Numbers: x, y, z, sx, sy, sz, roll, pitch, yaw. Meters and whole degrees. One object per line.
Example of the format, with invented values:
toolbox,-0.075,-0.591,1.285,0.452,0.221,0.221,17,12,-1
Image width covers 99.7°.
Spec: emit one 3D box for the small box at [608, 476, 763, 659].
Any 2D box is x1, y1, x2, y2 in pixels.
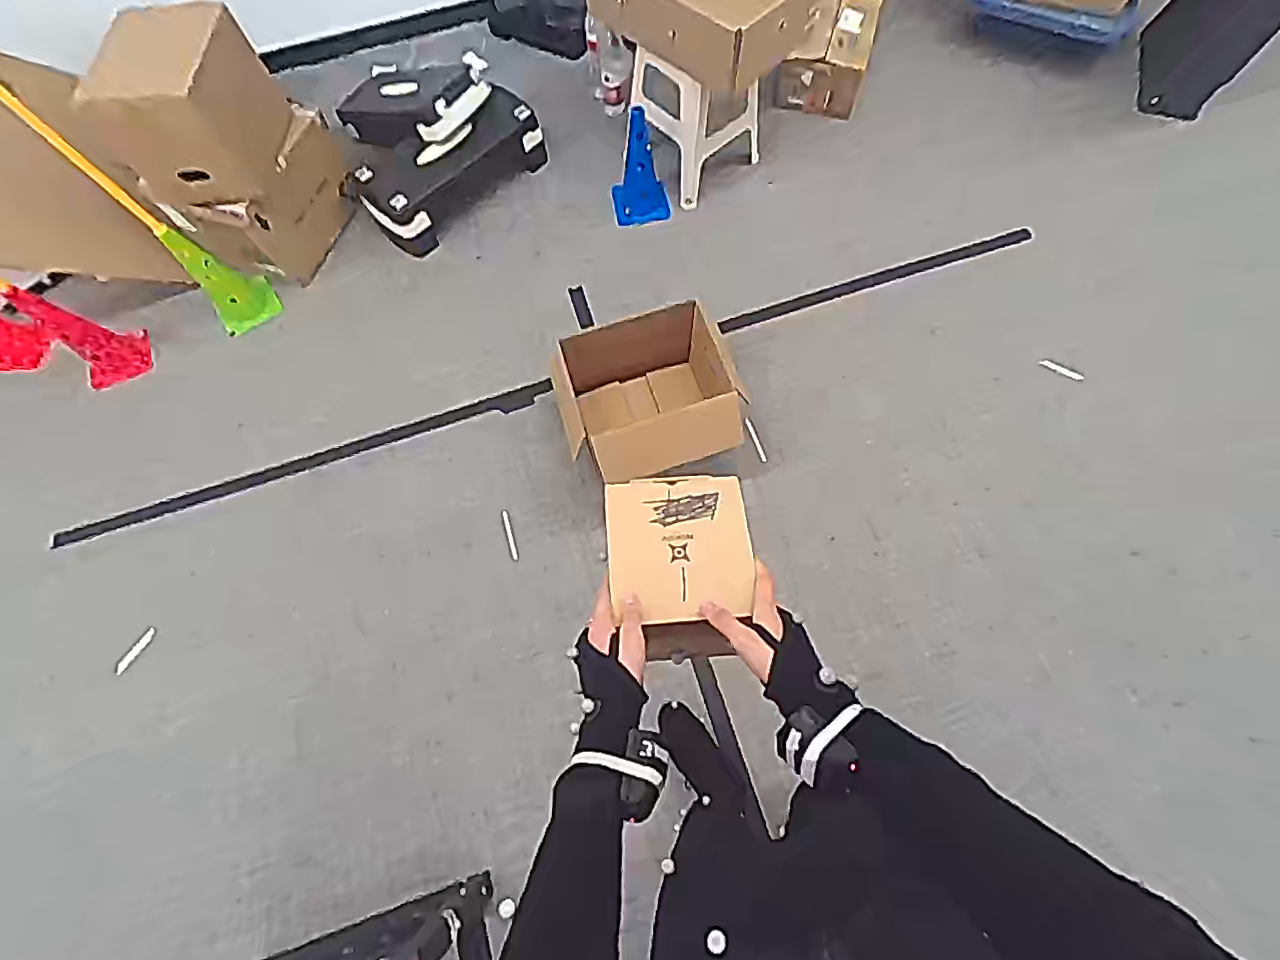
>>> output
small box,0.044,0.114,0.682,0.168,0.176,0.179,-3,59,-2
